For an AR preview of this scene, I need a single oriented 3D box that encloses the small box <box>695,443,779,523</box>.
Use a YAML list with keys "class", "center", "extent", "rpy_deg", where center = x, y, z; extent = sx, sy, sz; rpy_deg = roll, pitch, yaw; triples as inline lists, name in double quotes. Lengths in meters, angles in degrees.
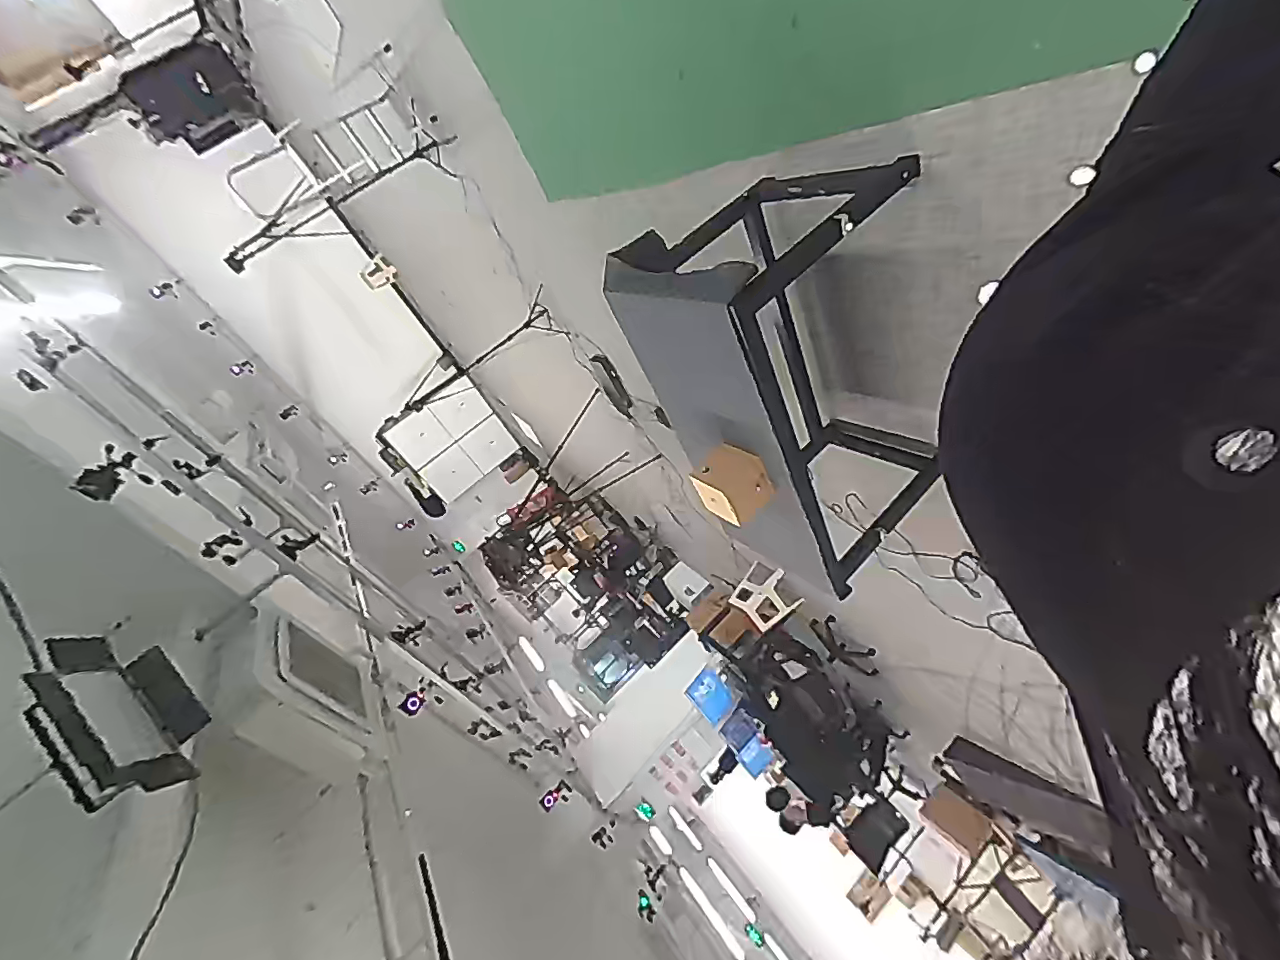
- class: "small box"
  center: [0.316, 0.002, 1.742]
  extent: [0.179, 0.176, 0.168]
  rpy_deg: [30, 158, 52]
